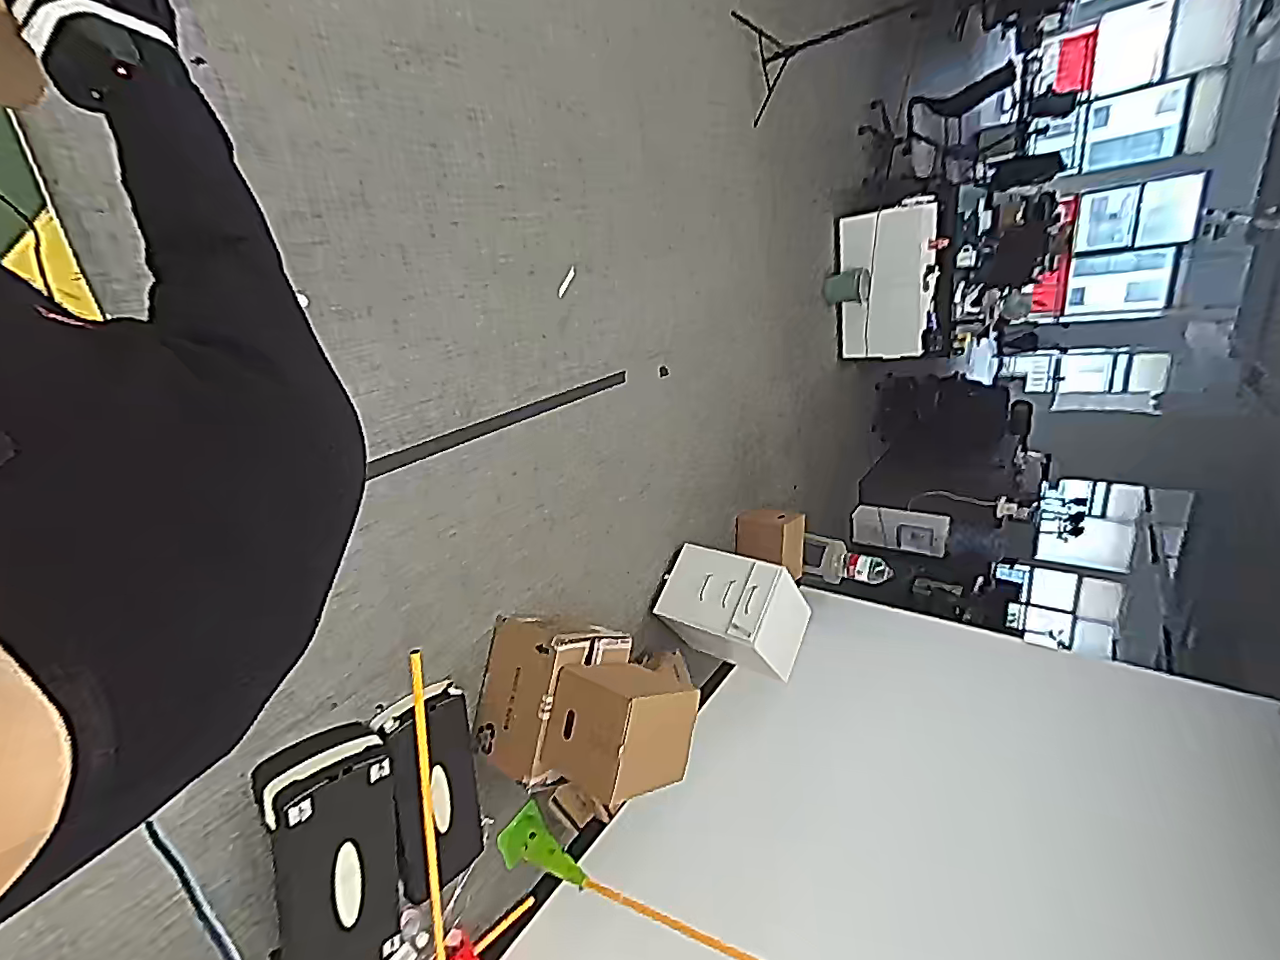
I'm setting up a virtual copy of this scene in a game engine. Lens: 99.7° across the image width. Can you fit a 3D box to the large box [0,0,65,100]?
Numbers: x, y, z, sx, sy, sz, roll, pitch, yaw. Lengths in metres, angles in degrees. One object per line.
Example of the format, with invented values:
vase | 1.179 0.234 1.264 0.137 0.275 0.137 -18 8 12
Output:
large box | -0.661 -0.446 0.283 0.408 0.320 0.320 -26 122 -47
